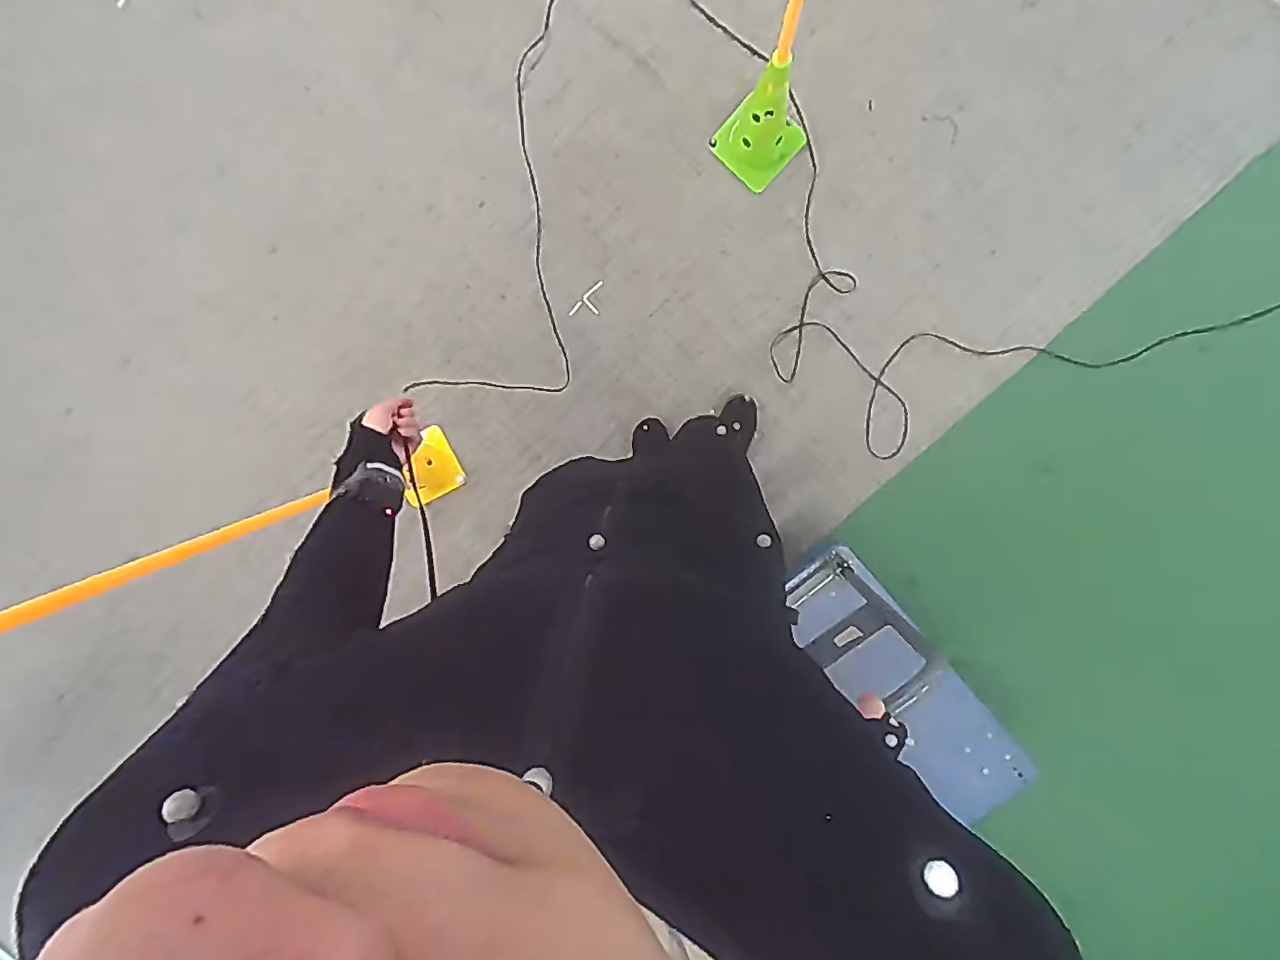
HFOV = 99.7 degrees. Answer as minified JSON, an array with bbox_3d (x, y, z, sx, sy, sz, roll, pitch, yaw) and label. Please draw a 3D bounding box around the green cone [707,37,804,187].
[{"bbox_3d":[0.302,-0.902,1.282,0.200,0.368,0.202,42,97,-3],"label":"green cone"}]
